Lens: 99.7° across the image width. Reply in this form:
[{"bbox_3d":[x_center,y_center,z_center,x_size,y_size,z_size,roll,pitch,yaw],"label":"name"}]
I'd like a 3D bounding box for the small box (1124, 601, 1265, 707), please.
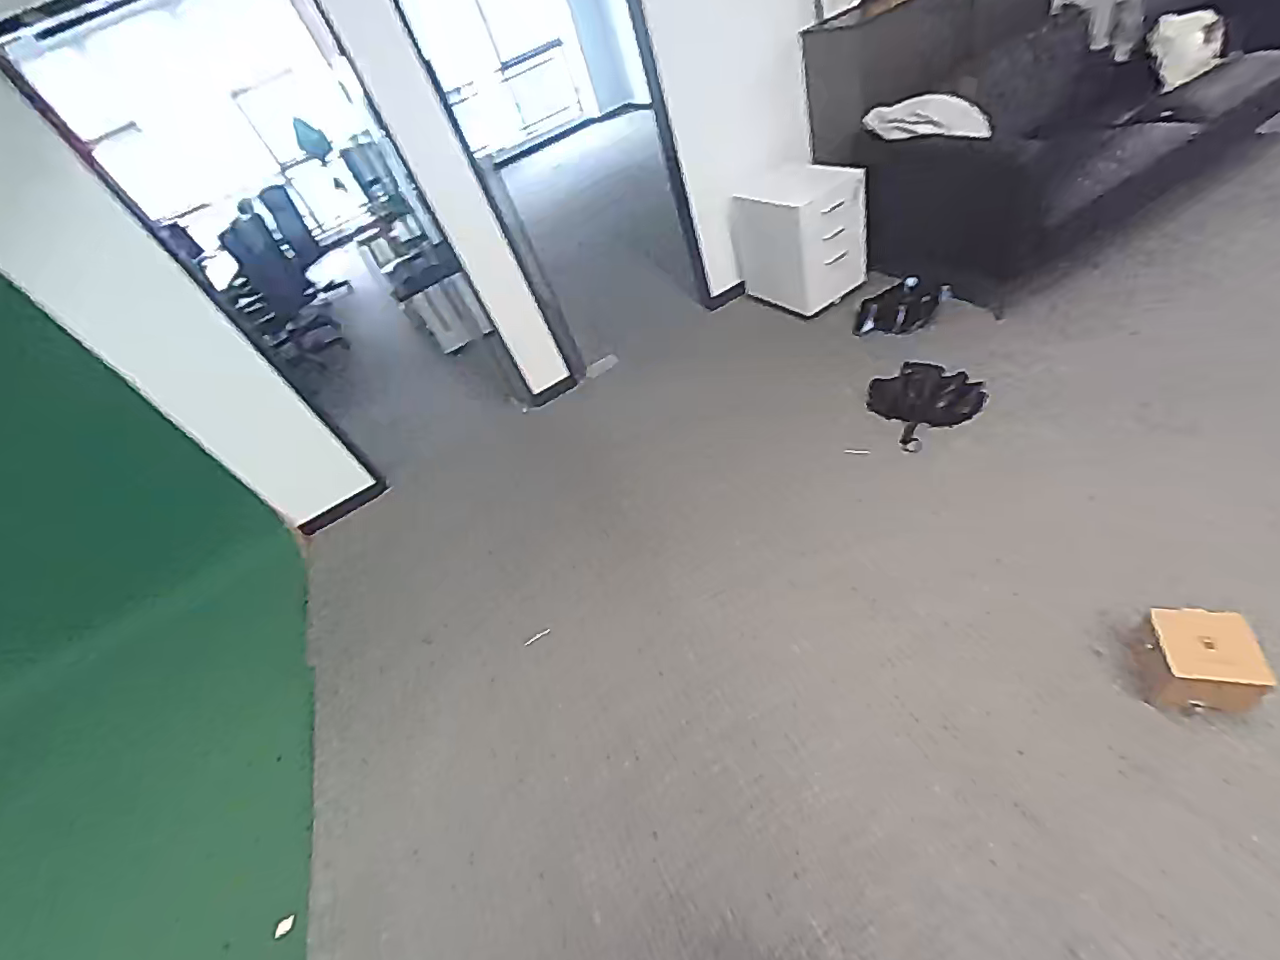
[{"bbox_3d":[1.284,0.407,1.271,0.168,0.176,0.179,-3,47,24],"label":"small box"}]
